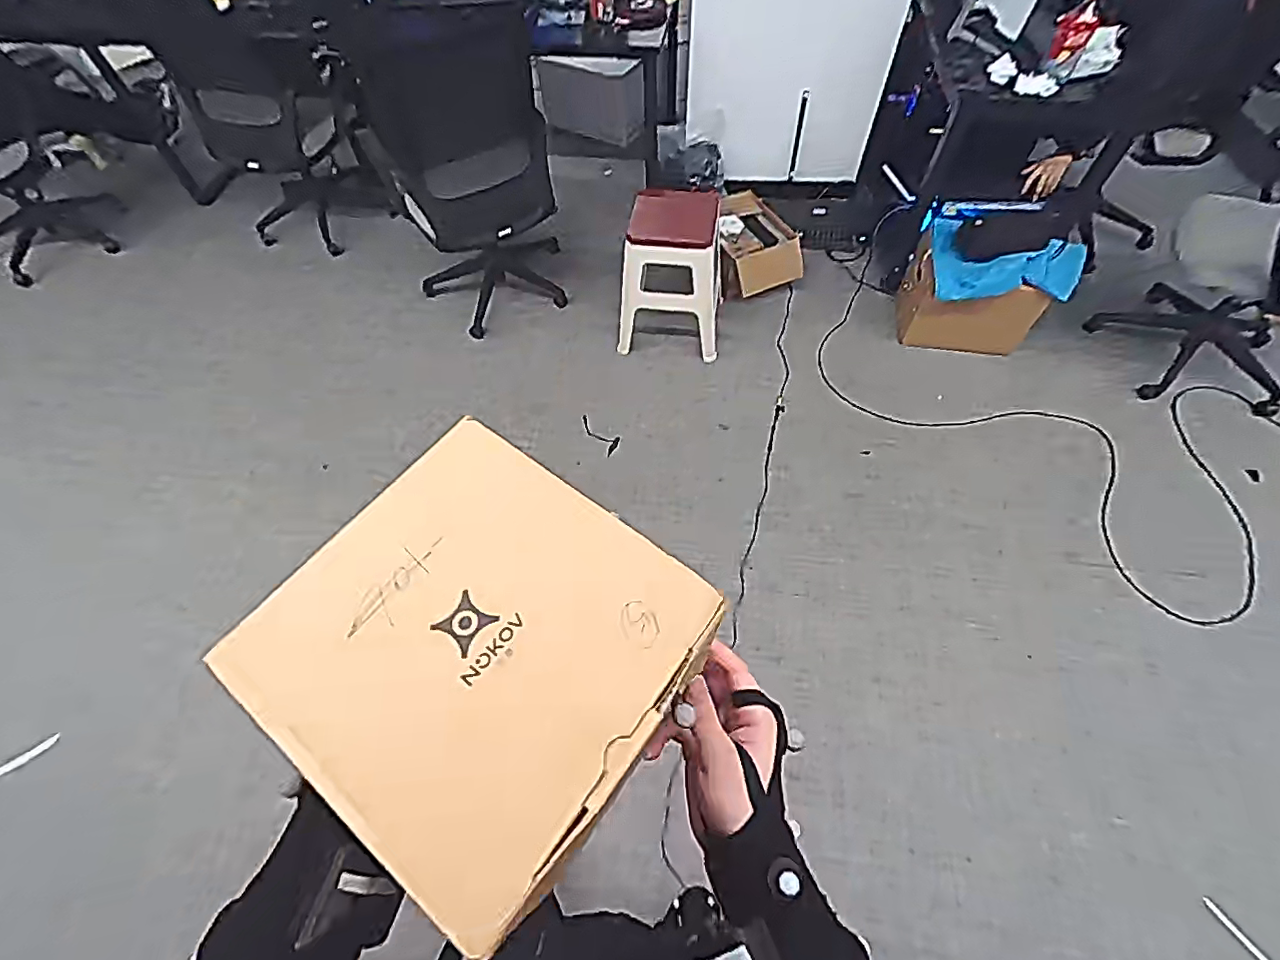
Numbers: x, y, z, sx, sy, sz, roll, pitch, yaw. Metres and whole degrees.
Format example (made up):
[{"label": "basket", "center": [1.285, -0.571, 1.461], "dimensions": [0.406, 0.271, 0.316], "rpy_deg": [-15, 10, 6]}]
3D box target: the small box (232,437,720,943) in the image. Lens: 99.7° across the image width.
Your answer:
[{"label": "small box", "center": [-0.074, 0.112, 0.327], "dimensions": [0.179, 0.176, 0.168], "rpy_deg": [32, 66, 19]}]
